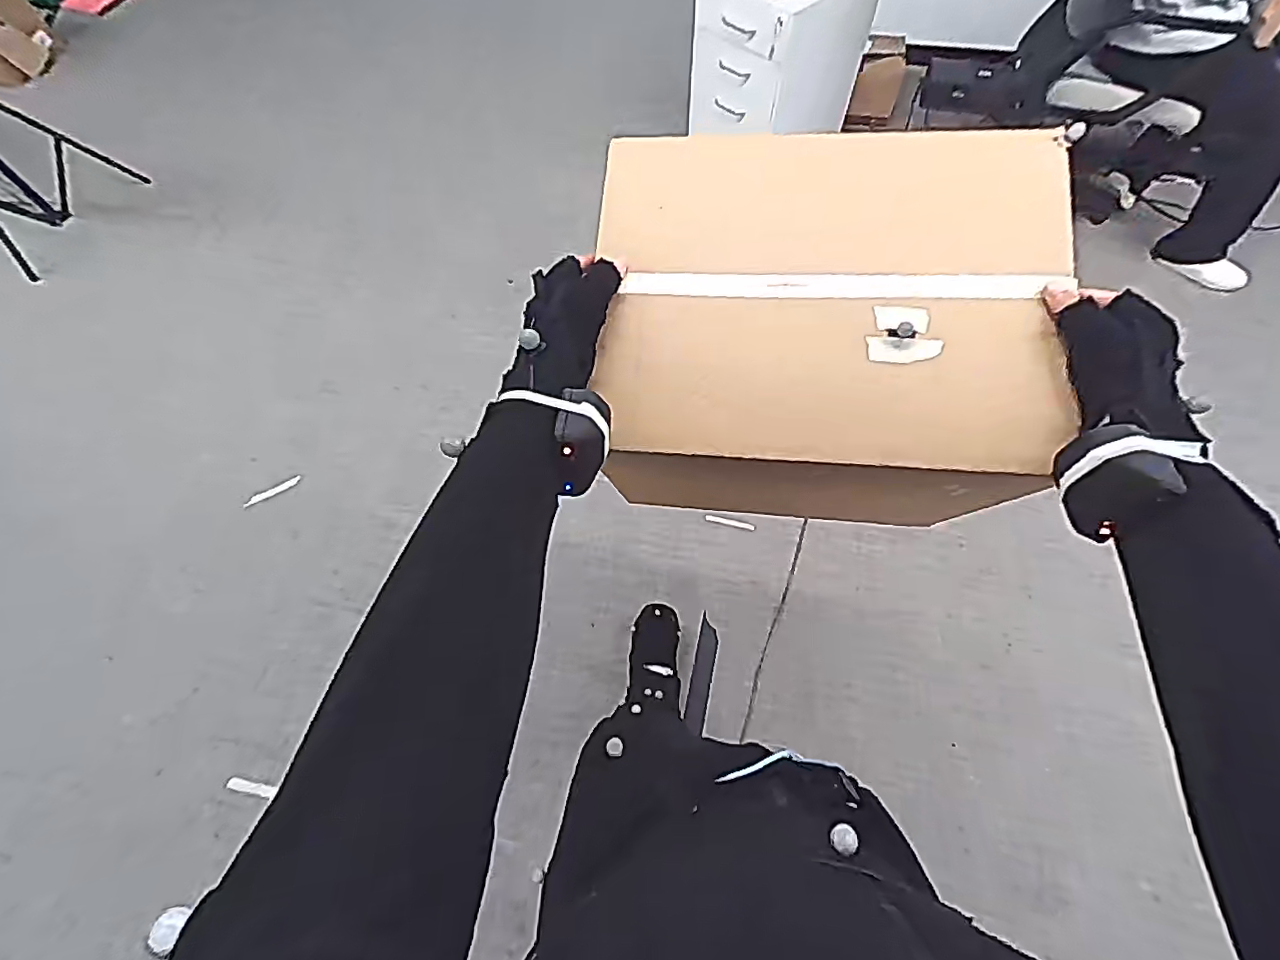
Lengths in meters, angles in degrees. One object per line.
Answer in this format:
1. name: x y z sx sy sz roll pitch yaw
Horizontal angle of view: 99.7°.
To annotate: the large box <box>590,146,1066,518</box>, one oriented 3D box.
1. large box: 0.178 -0.137 0.636 0.408 0.320 0.320 4 80 8
